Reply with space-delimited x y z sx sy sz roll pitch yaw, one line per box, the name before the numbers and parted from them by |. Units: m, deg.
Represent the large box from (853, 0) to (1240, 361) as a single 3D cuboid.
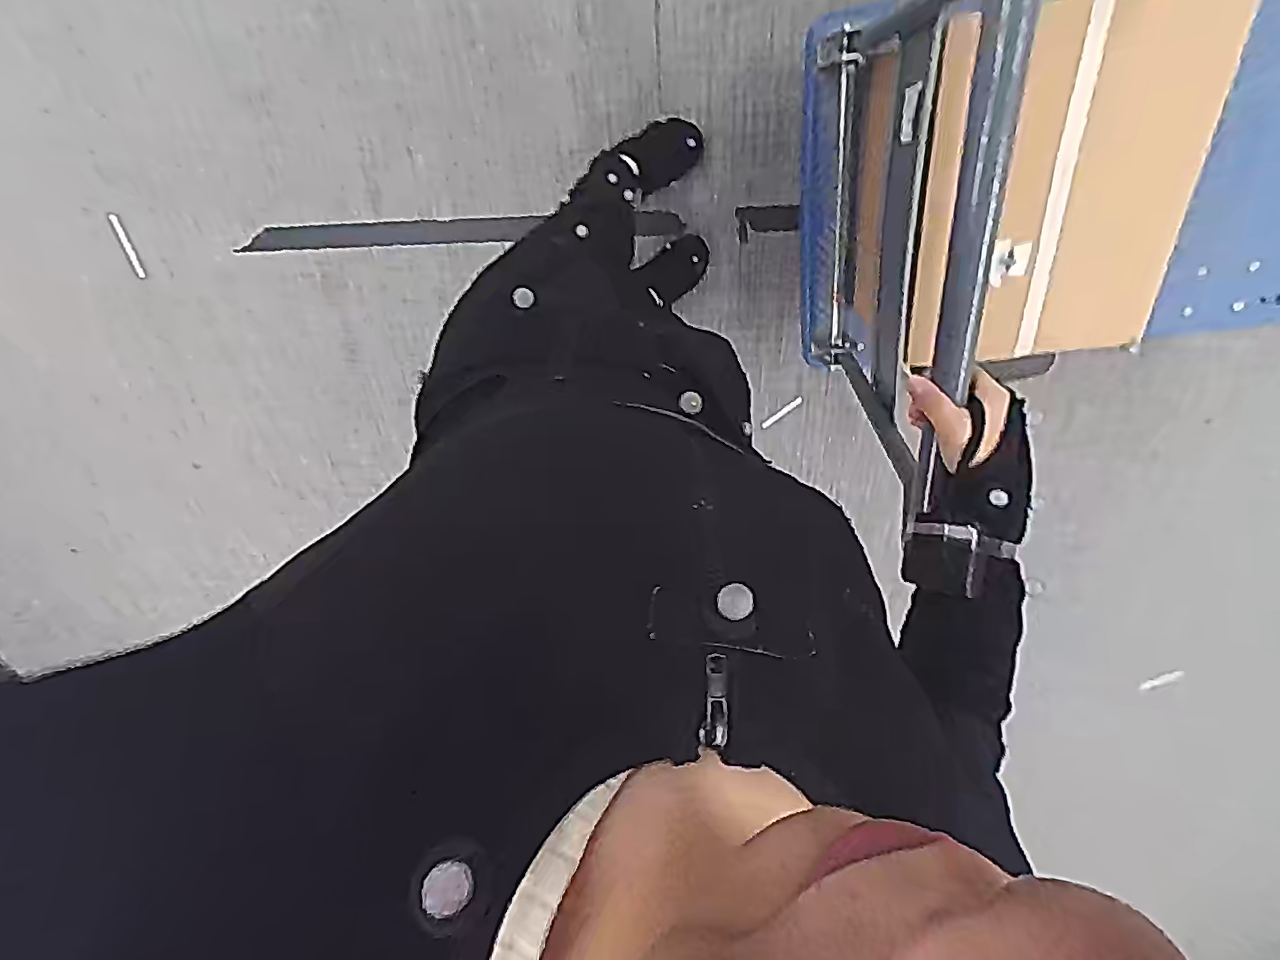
large box | 0.523 -0.437 0.807 0.320 0.320 0.408 -4 122 9
